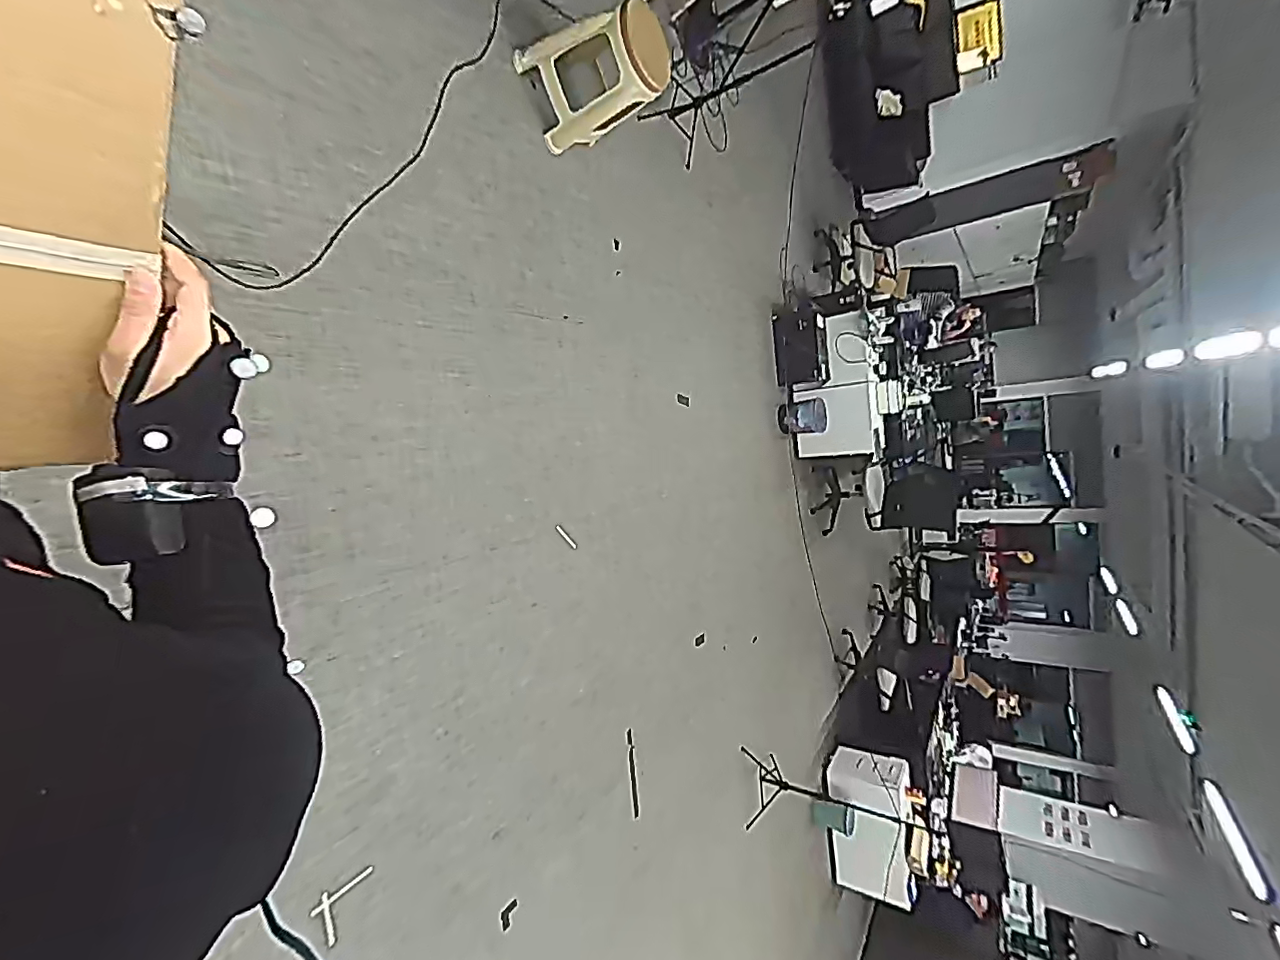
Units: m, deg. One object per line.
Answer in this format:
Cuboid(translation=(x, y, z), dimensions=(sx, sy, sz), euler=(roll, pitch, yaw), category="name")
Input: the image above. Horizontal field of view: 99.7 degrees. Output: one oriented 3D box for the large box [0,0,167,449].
Cuboid(translation=(-0.547, -0.218, 0.270), dimensions=(0.408, 0.320, 0.320), euler=(-9, 135, -53), category="large box")
